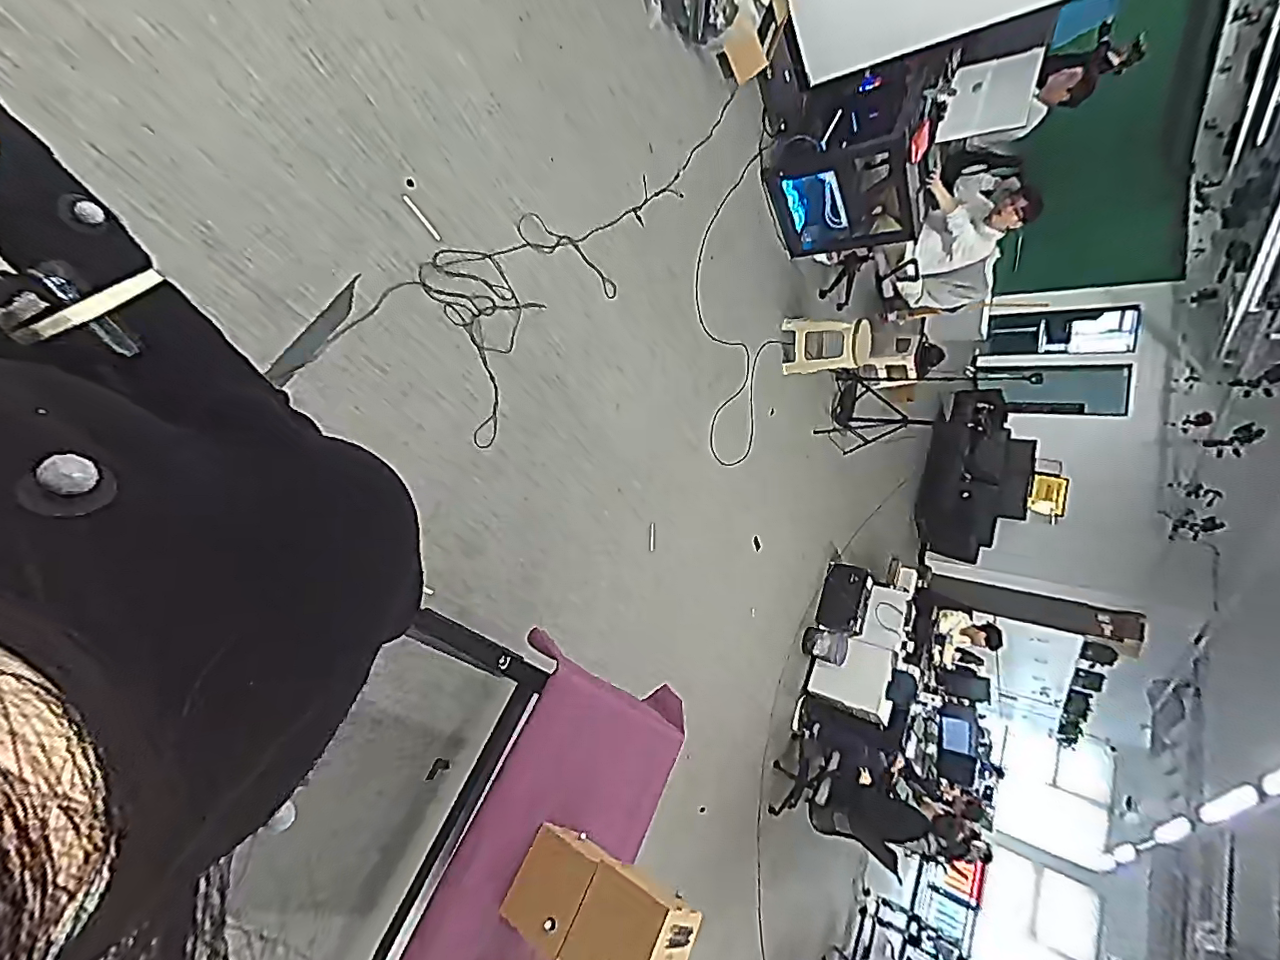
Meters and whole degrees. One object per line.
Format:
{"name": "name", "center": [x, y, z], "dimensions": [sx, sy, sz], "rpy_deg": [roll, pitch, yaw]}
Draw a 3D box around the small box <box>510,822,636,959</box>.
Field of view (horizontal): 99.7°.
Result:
{"name": "small box", "center": [-0.144, 0.859, 1.130], "dimensions": [0.179, 0.176, 0.168], "rpy_deg": [-61, 138, -25]}
